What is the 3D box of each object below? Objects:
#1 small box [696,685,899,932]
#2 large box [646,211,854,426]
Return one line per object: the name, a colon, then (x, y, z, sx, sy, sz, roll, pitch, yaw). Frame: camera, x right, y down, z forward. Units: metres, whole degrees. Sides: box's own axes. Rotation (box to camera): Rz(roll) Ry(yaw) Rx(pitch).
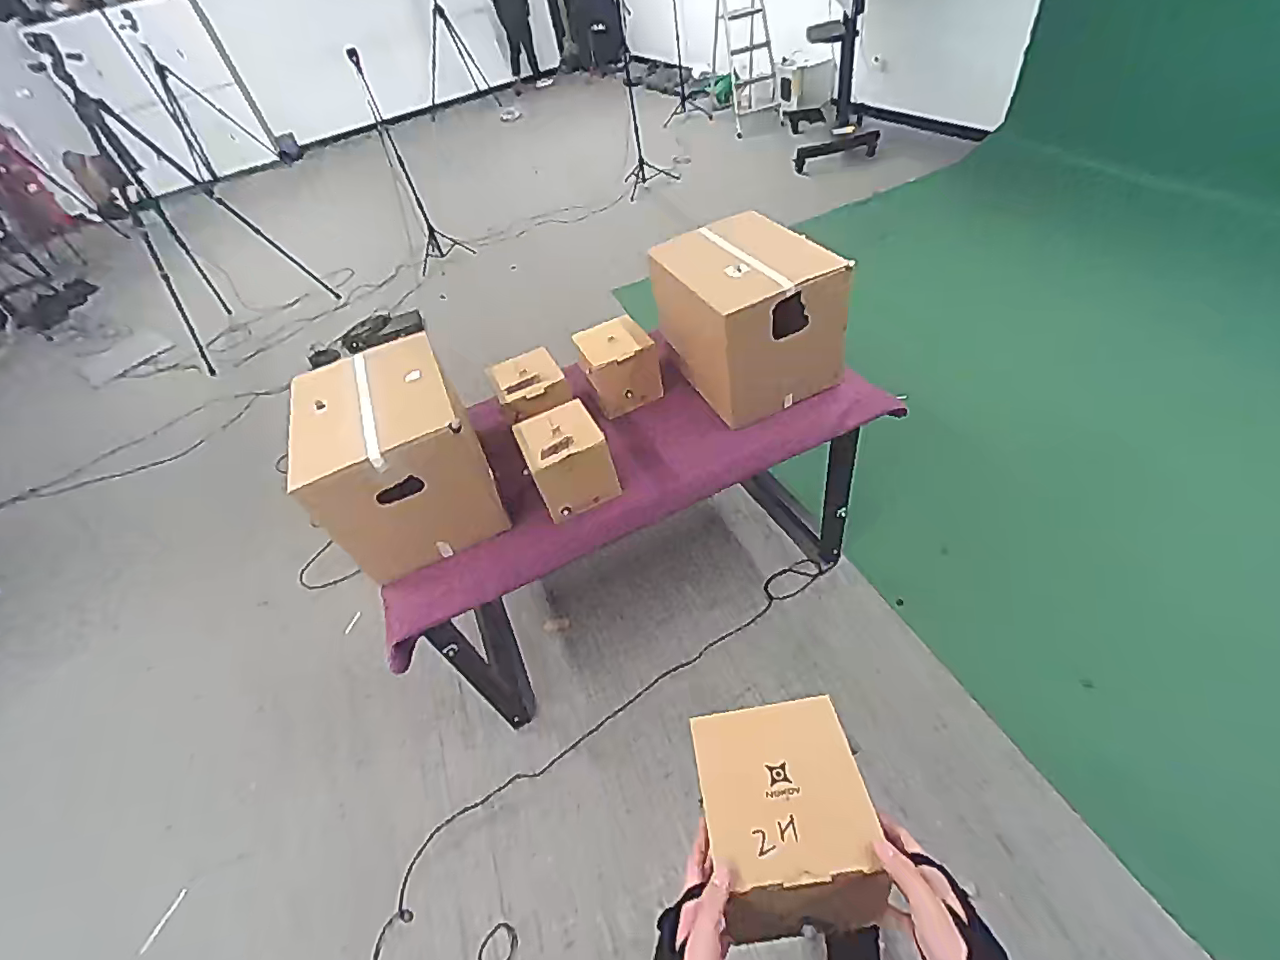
small box: (0.163, 0.365, 0.608, 0.168, 0.176, 0.179, -11, 36, 3)
large box: (0.253, -0.406, 1.336, 0.320, 0.320, 0.408, -25, 48, -9)
